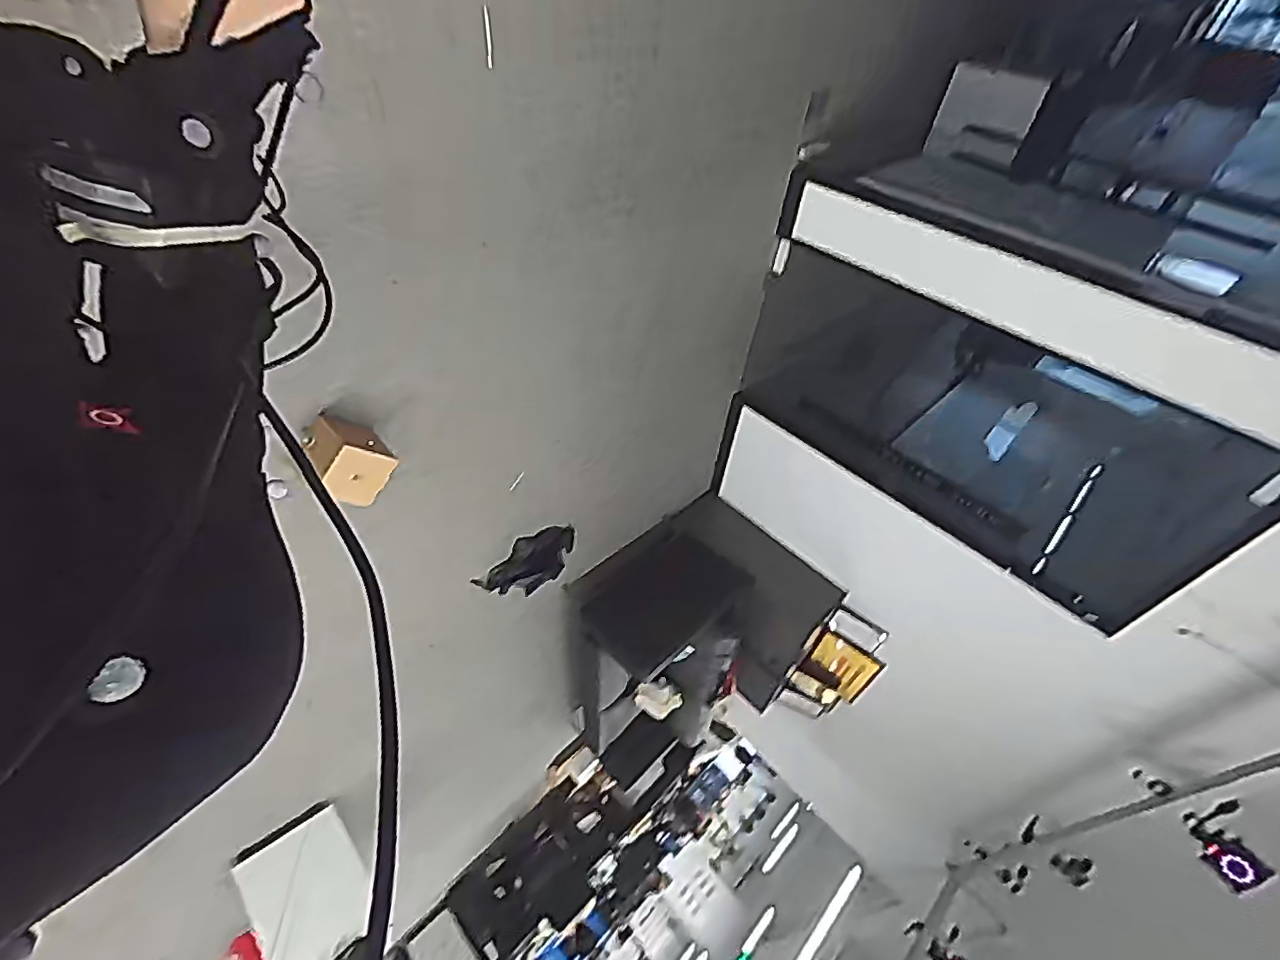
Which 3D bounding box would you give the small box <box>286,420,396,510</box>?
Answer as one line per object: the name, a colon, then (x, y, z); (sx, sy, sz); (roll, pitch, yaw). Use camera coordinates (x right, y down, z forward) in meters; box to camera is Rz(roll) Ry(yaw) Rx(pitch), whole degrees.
small box: (-0.819, -0.043, 1.482); (0.168, 0.176, 0.179); (-55, 152, 5)
